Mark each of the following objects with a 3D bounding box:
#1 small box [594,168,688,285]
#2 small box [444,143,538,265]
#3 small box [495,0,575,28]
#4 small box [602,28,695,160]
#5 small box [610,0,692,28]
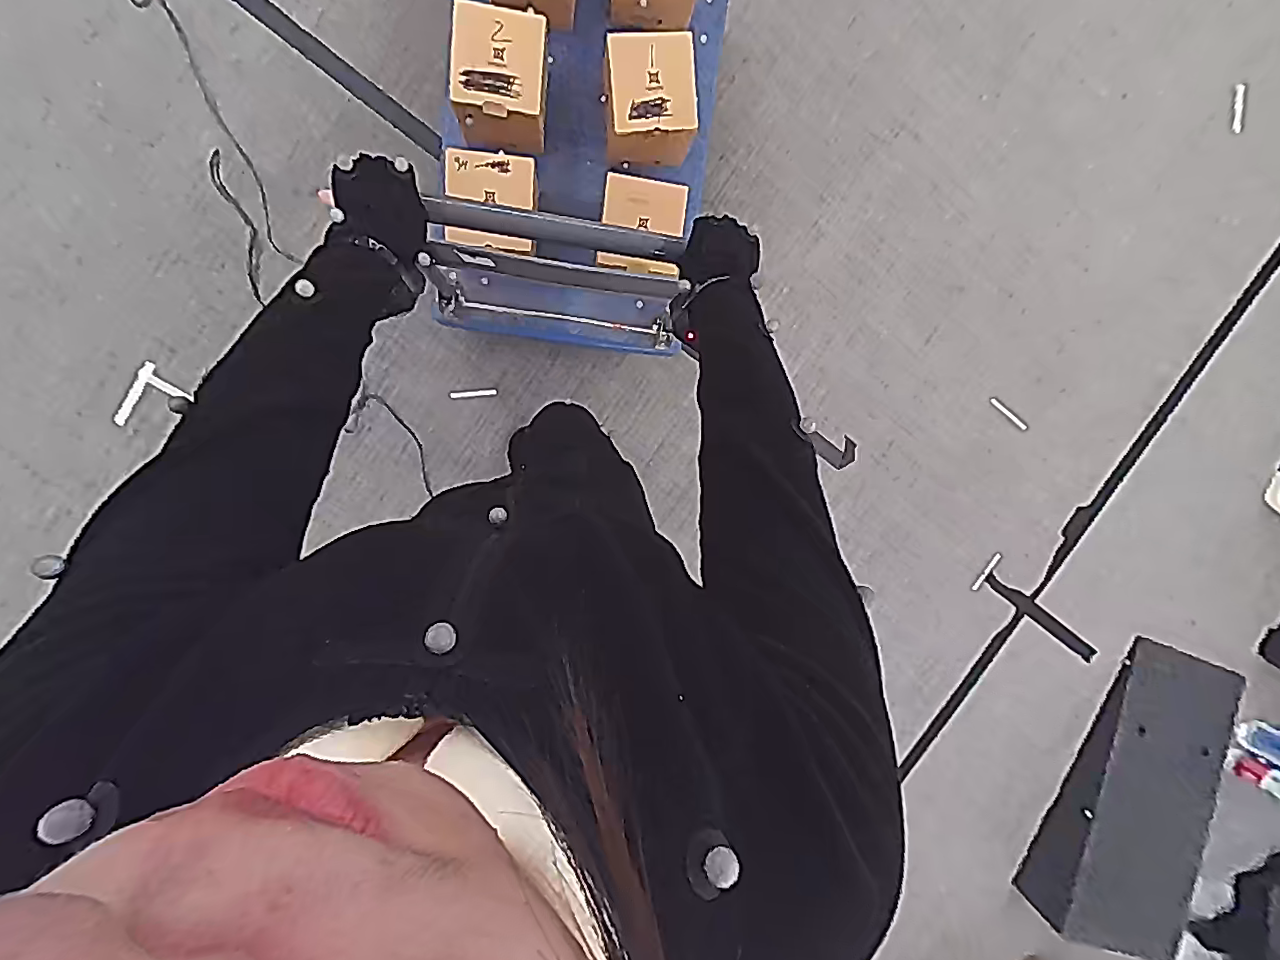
[{"bbox_3d":[-0.005,-0.528,1.156,0.168,0.176,0.179,6,98,-9],"label":"small box"},{"bbox_3d":[-0.299,-0.553,1.111,0.168,0.176,0.179,3,99,-9],"label":"small box"},{"bbox_3d":[-0.201,-1.038,1.043,0.168,0.176,0.179,8,99,-9],"label":"small box"},{"bbox_3d":[0.014,-0.782,1.116,0.168,0.176,0.179,-6,99,-7],"label":"small box"},{"bbox_3d":[0.031,-1.051,1.074,0.168,0.176,0.179,3,99,-8],"label":"small box"}]
